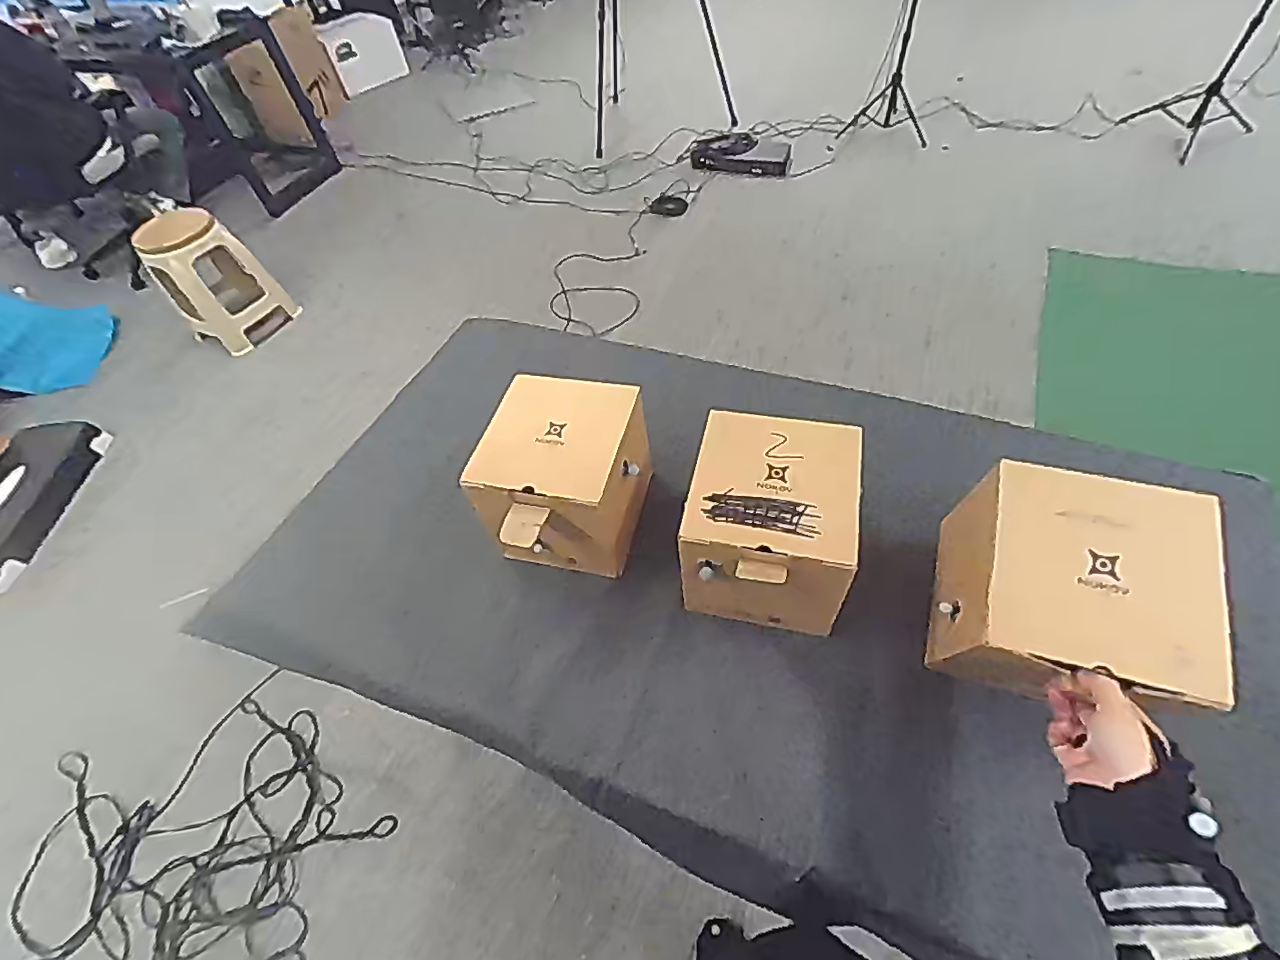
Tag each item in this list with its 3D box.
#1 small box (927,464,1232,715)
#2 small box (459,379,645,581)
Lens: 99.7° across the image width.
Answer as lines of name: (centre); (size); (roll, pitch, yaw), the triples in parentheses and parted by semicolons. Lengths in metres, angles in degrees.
small box: (0.391, 0.111, 0.515); (0.168, 0.176, 0.179); (12, 67, 15)
small box: (-0.092, 0.001, 0.677); (0.168, 0.176, 0.179); (8, 55, 13)
